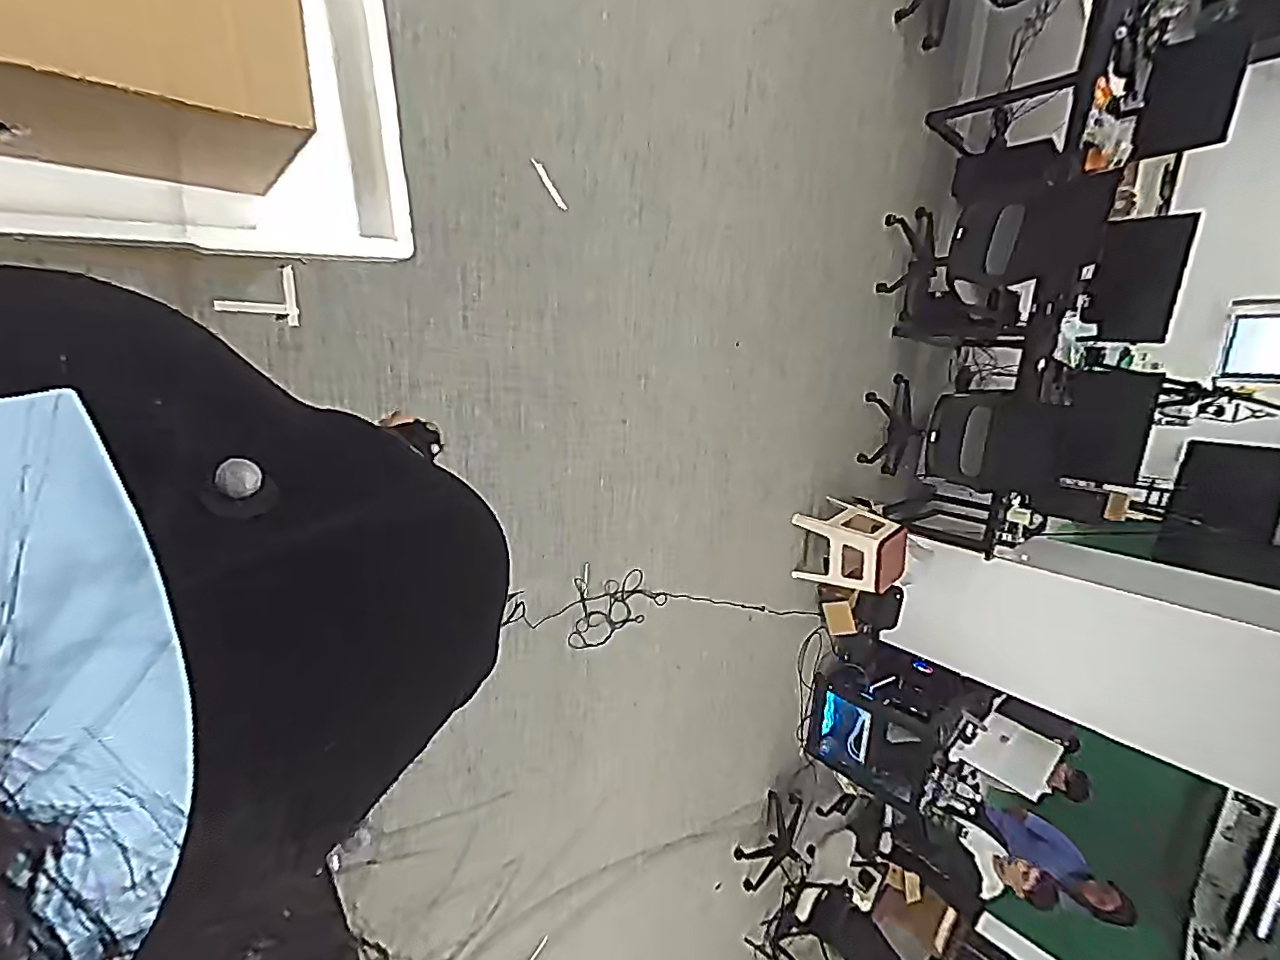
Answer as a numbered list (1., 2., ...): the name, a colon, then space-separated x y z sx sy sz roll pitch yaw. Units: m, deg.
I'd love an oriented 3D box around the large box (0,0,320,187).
1. large box: -0.512 -0.438 0.400 0.408 0.320 0.320 -12 109 -39
